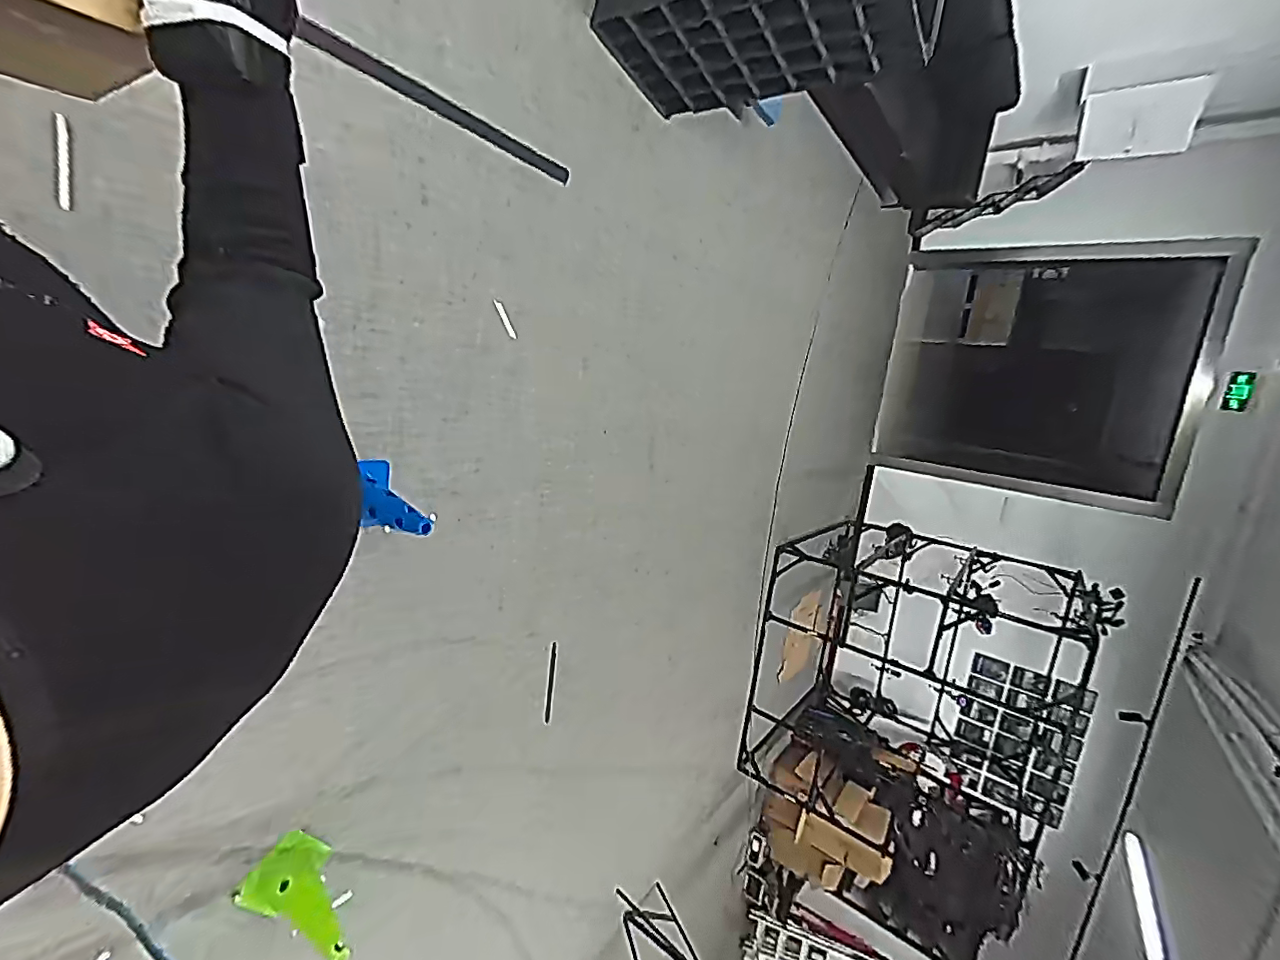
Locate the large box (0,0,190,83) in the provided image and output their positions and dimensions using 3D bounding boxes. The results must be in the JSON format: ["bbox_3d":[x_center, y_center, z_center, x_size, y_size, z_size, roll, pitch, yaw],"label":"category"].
[{"bbox_3d":[-0.522,-0.461,0.253,0.408,0.320,0.320,-12,117,-52],"label":"large box"}]

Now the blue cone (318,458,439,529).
[{"bbox_3d":[-0.664,0.066,1.417,0.192,0.380,0.193,-1,103,-56],"label":"blue cone"}]

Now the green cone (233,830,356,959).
[{"bbox_3d":[-0.890,1.174,1.472,0.202,0.368,0.200,-51,139,-33],"label":"green cone"}]
